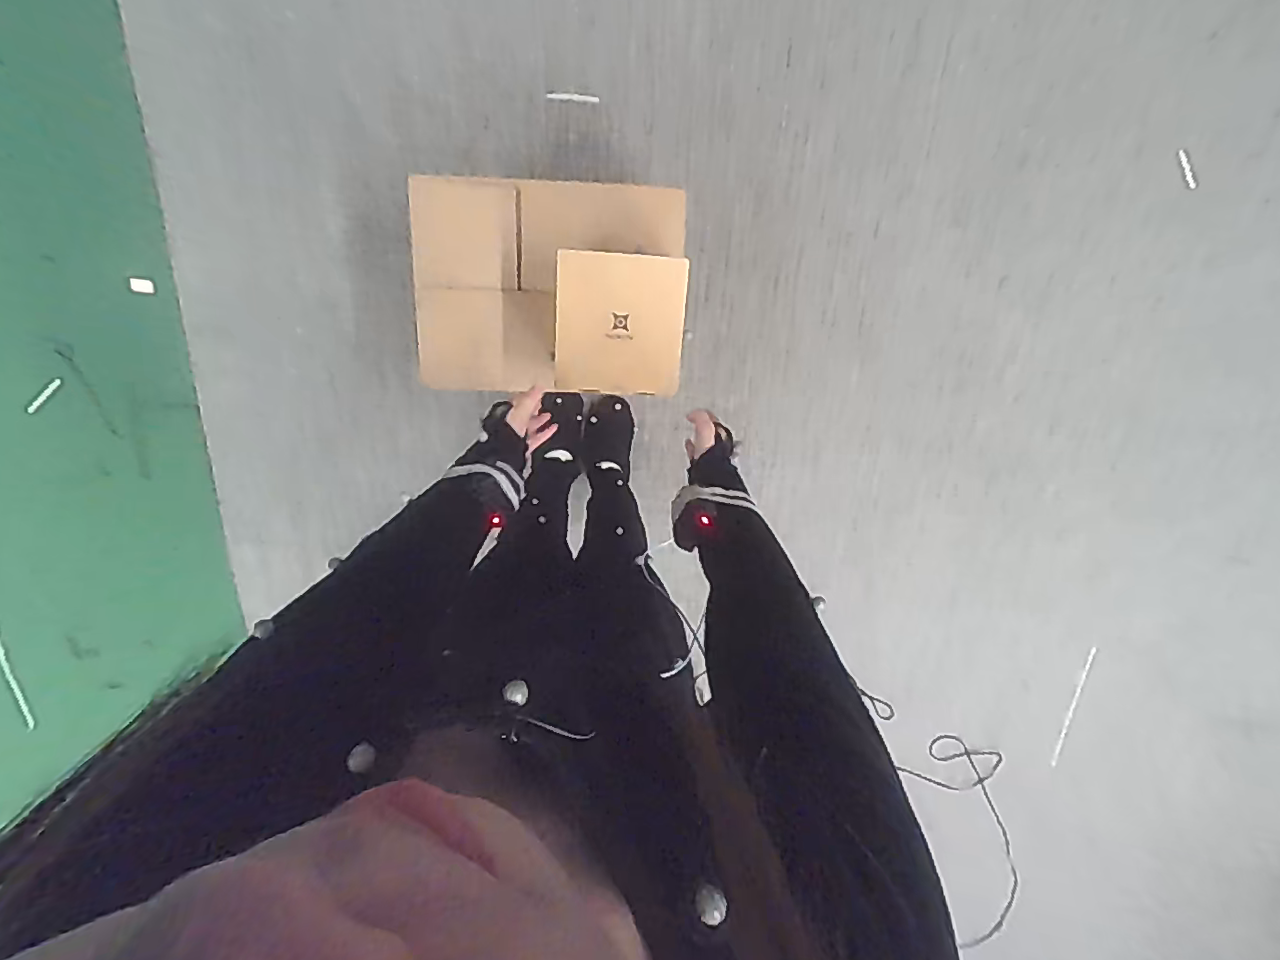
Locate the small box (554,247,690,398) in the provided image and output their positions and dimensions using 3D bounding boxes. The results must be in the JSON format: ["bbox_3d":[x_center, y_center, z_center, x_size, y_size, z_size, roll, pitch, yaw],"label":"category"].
[{"bbox_3d":[-0.030,-0.224,0.770,0.168,0.176,0.179,4,110,-4],"label":"small box"}]
